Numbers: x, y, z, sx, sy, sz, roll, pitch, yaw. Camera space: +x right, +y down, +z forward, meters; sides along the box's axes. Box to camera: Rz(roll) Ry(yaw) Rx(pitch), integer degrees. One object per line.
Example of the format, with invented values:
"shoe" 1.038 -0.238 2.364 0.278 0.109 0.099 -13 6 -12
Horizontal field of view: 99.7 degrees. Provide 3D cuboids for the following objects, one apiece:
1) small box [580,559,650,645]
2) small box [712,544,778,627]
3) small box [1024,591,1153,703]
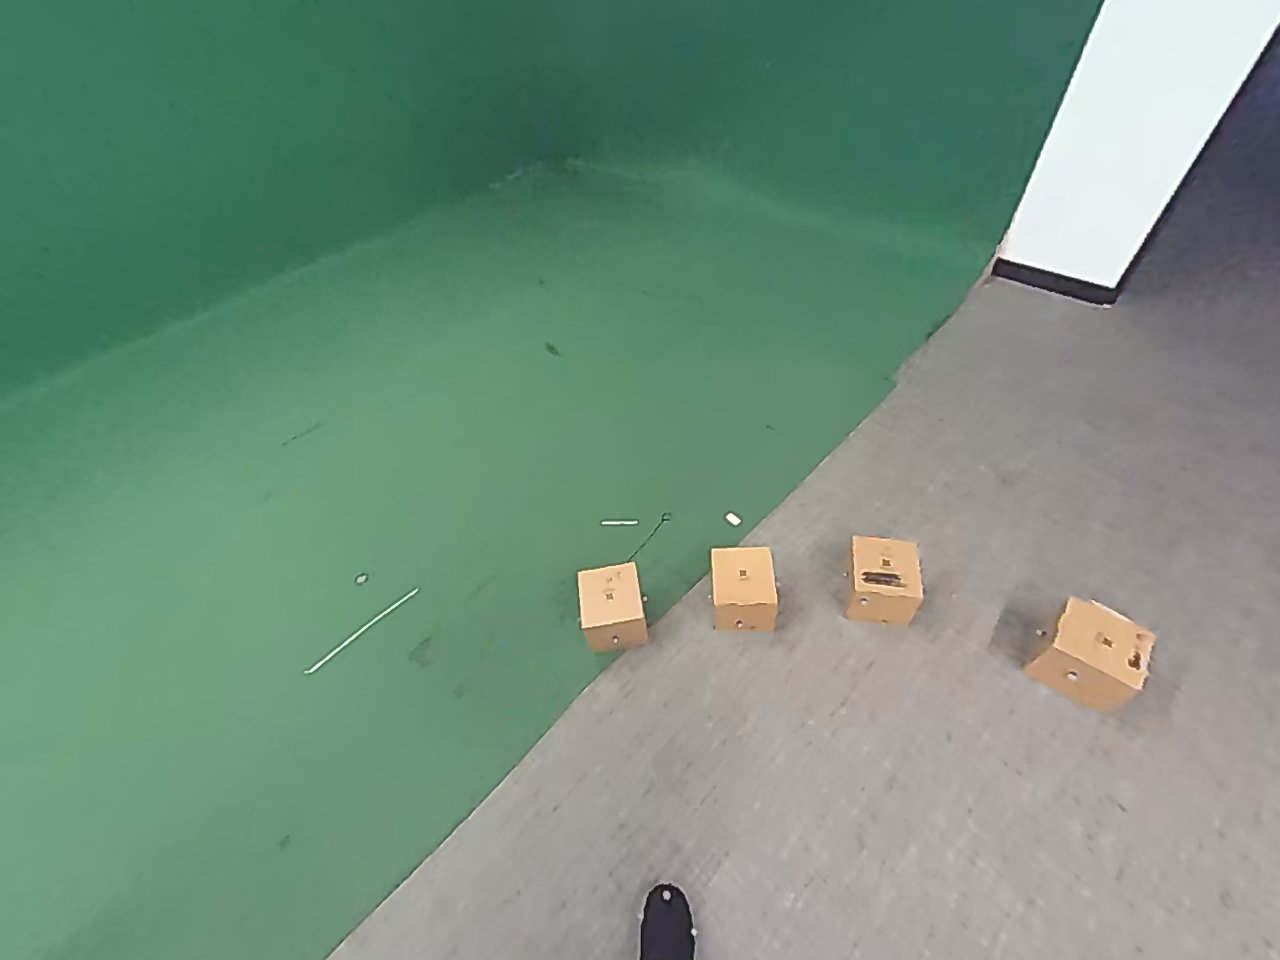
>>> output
"small box" -0.069 0.352 1.526 0.168 0.176 0.179 -9 50 -1
"small box" 0.290 0.298 1.524 0.168 0.176 0.179 -3 51 6
"small box" 1.081 0.410 1.316 0.179 0.176 0.168 28 60 28
